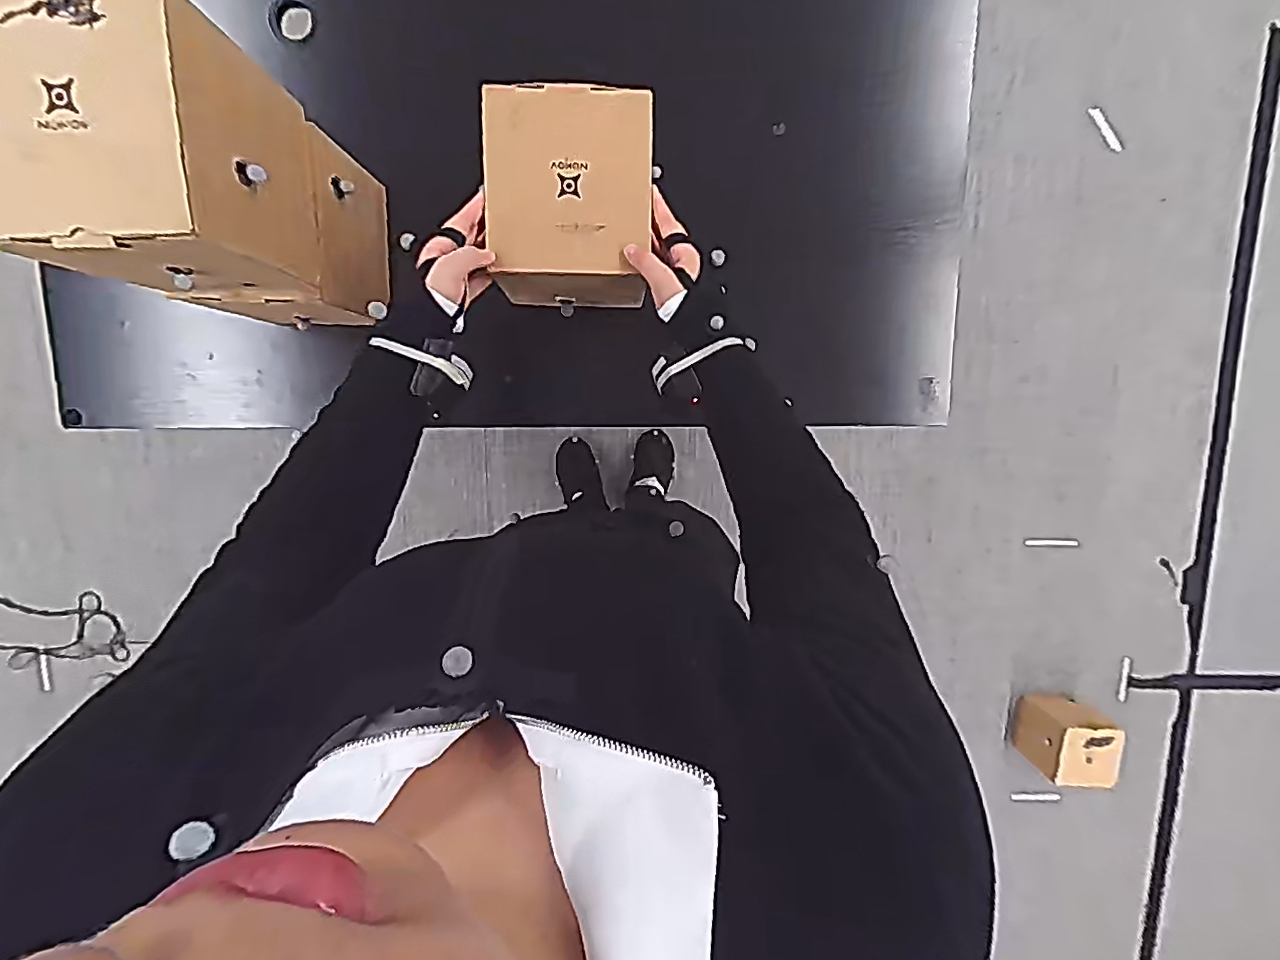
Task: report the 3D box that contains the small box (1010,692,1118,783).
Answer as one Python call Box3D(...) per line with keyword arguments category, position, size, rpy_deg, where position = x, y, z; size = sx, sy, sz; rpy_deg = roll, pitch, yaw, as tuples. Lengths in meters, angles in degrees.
Box3D(category="small box", position=(1.203, 0.729, 1.547), size=(0.168, 0.176, 0.179), rpy_deg=(3, 99, -1))

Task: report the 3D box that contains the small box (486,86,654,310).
Box3D(category="small box", position=(-0.073, -0.301, 0.611), size=(0.168, 0.176, 0.179), rpy_deg=(-1, 97, -3))

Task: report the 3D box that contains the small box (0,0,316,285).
Box3D(category="small box", position=(-0.406, -0.269, 0.460), size=(0.168, 0.176, 0.179), rpy_deg=(-2, 99, -1))

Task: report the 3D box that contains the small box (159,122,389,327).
Box3D(category="small box", position=(-0.408, -0.282, 0.624), size=(0.168, 0.176, 0.179), rpy_deg=(1, 98, -1))
